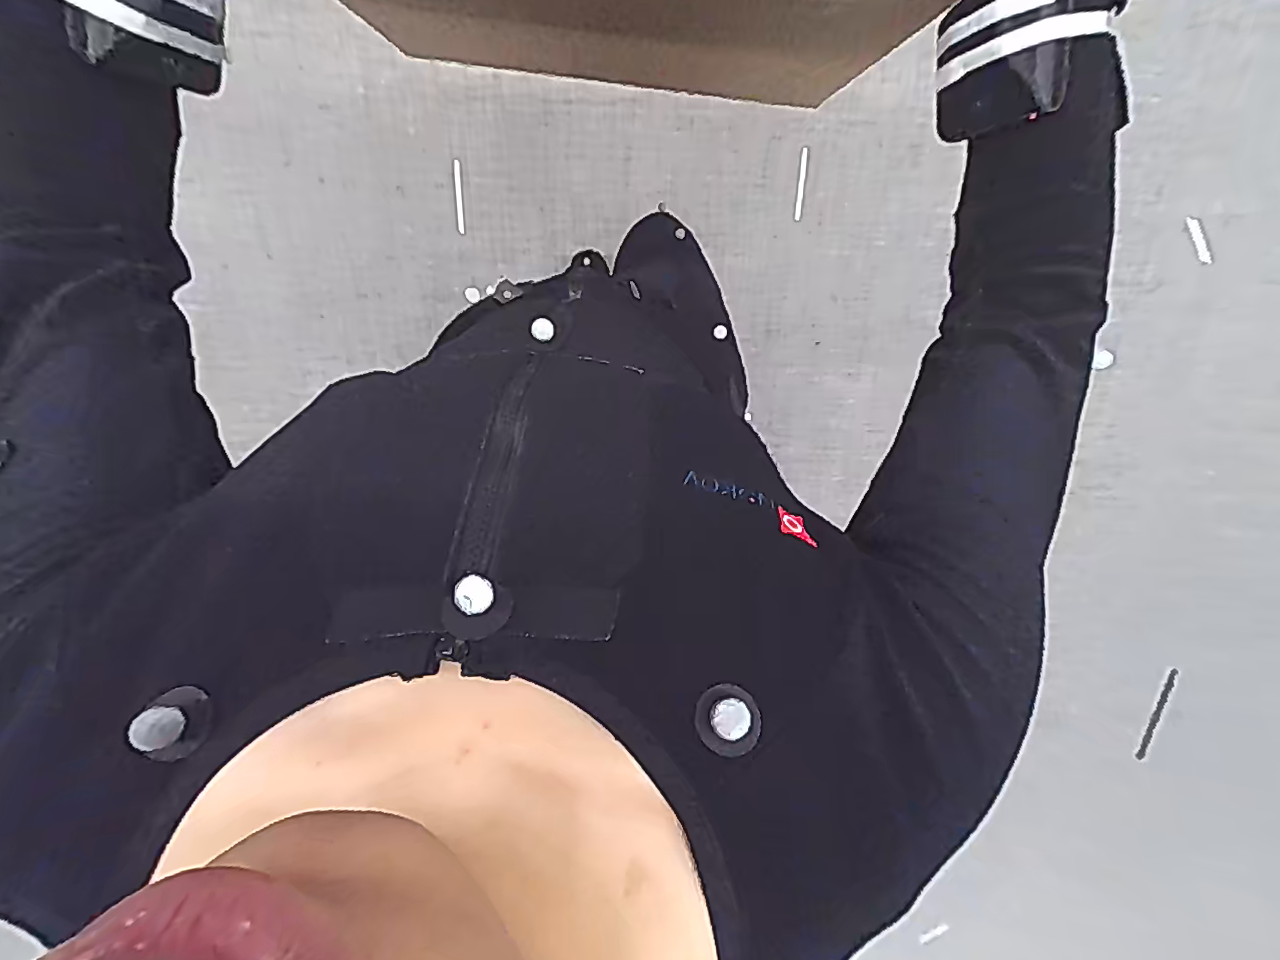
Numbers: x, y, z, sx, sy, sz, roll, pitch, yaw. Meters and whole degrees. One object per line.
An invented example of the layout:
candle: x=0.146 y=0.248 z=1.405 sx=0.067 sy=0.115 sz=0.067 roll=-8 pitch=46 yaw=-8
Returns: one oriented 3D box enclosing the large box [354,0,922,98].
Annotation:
large box: x=-0.009 y=-0.475 z=0.336 sx=0.408 sy=0.320 sz=0.320 roll=5 pitch=114 yaw=-3
